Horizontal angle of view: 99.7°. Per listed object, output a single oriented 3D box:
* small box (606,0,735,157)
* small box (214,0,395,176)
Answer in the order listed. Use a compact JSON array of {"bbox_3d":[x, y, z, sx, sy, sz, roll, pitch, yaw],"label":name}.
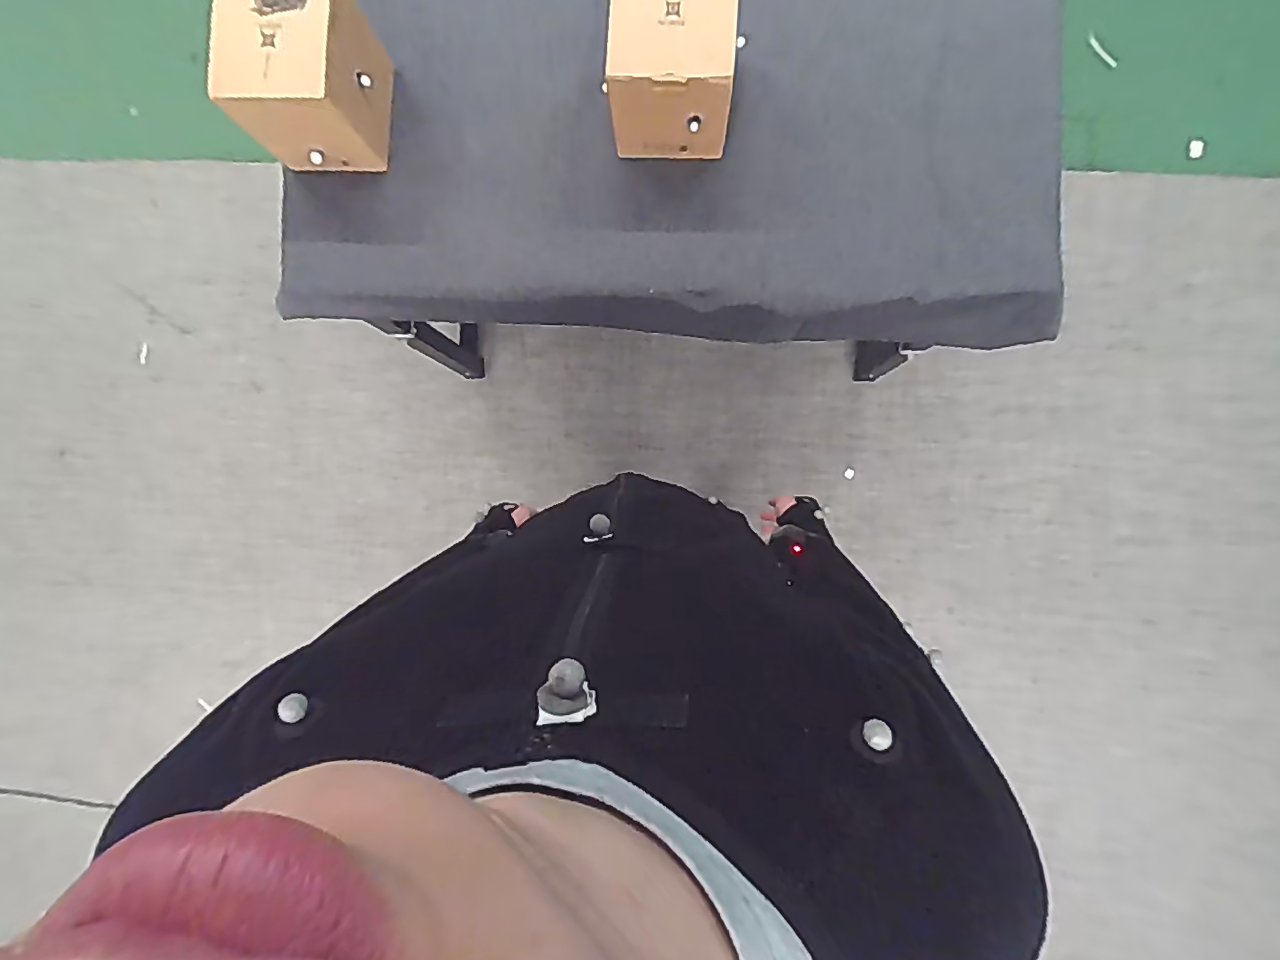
[{"bbox_3d":[0.045,-0.597,0.780,0.168,0.176,0.179,2,88,2],"label":"small box"},{"bbox_3d":[-0.486,-0.590,0.807,0.168,0.176,0.179,2,90,3],"label":"small box"}]
